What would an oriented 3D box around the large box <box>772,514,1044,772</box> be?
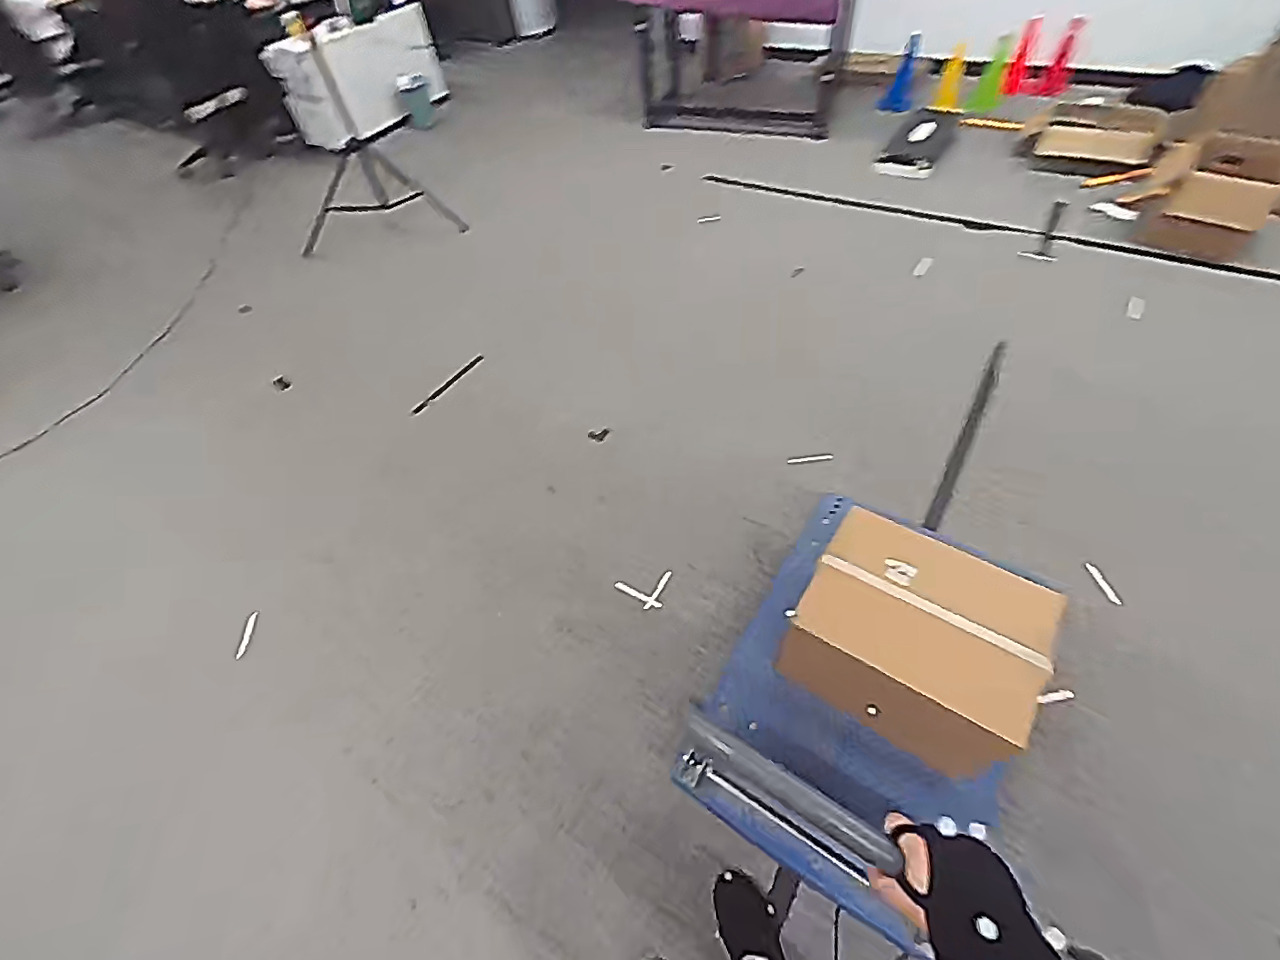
[{"bbox_3d":[0.538,0.342,1.145,0.408,0.320,0.320,25,58,25],"label":"large box"}]
